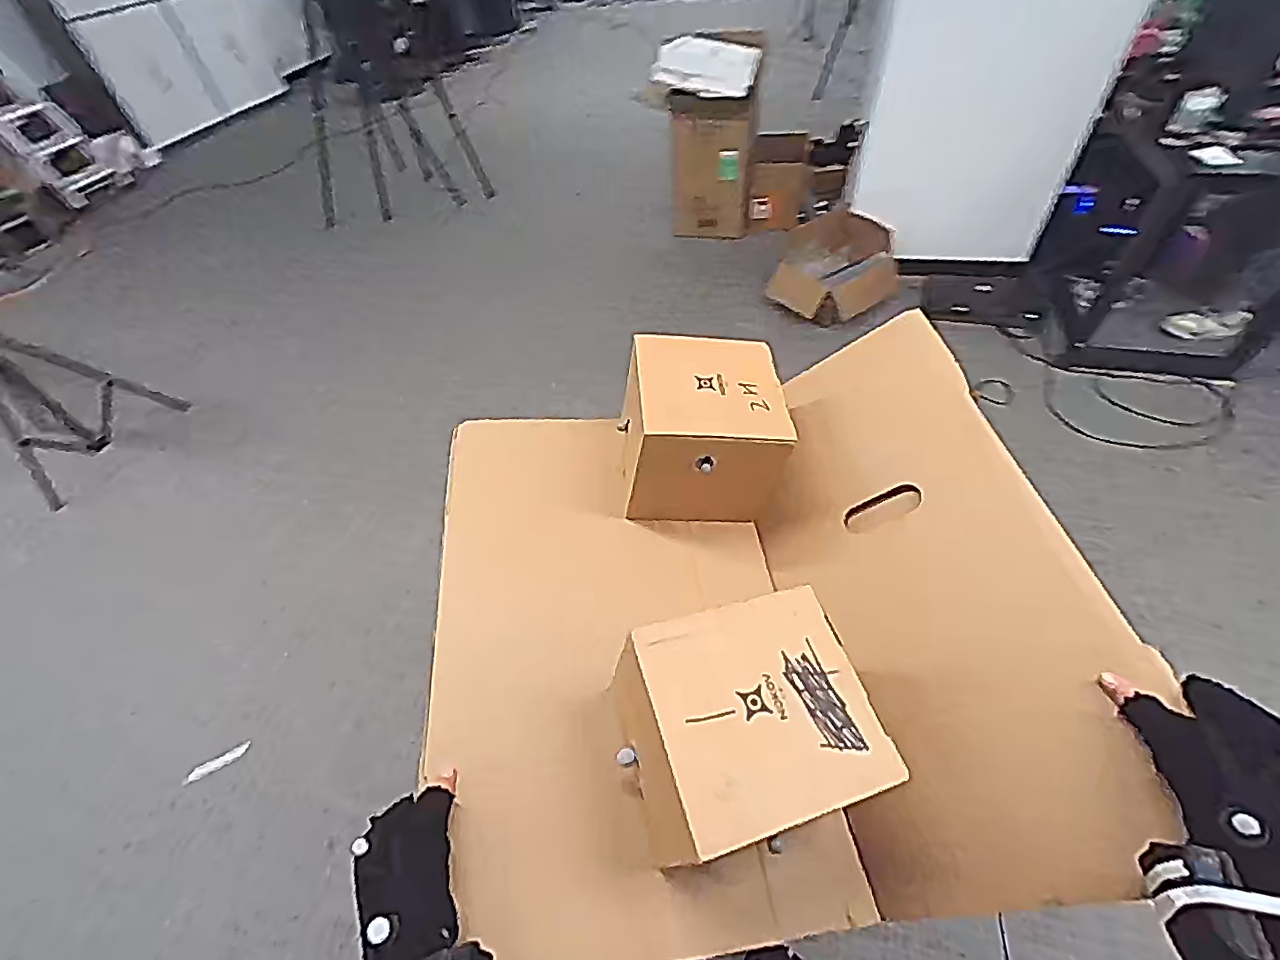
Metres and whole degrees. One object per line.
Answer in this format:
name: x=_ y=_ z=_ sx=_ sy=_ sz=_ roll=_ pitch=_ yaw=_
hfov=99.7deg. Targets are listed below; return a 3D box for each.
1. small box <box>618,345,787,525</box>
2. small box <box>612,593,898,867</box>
small box: x=0.065 y=-0.052 z=0.702 sx=0.179 sy=0.176 sz=0.168 roll=2 pitch=53 yaw=-9
small box: x=0.083 y=0.228 z=0.494 sx=0.179 sy=0.176 sz=0.168 roll=-11 pitch=56 yaw=-17
